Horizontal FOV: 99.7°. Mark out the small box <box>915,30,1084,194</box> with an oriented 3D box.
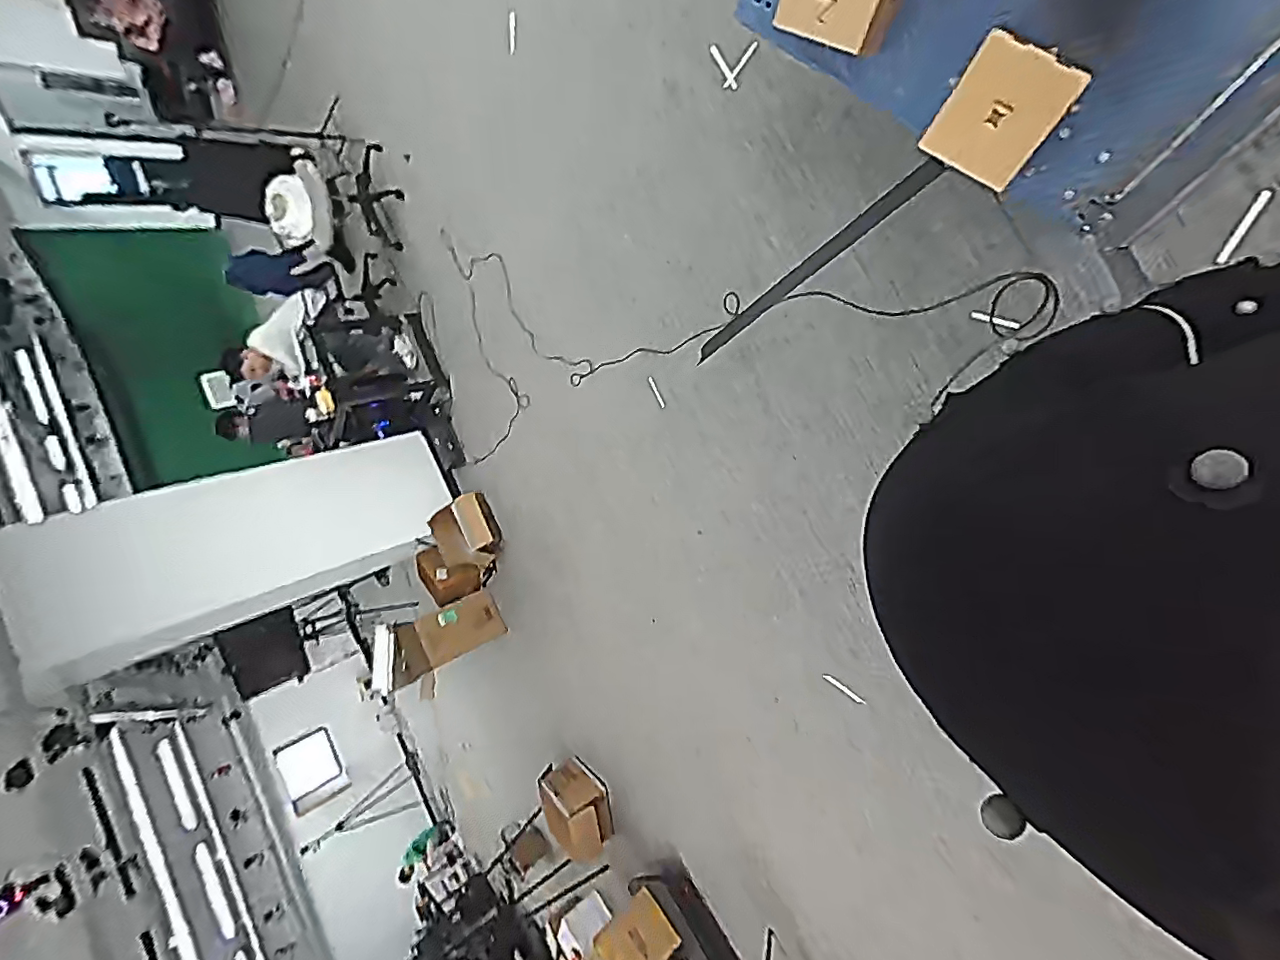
[{"bbox_3d":[0.614,-0.629,0.931,0.168,0.176,0.179,36,135,9],"label":"small box"}]
